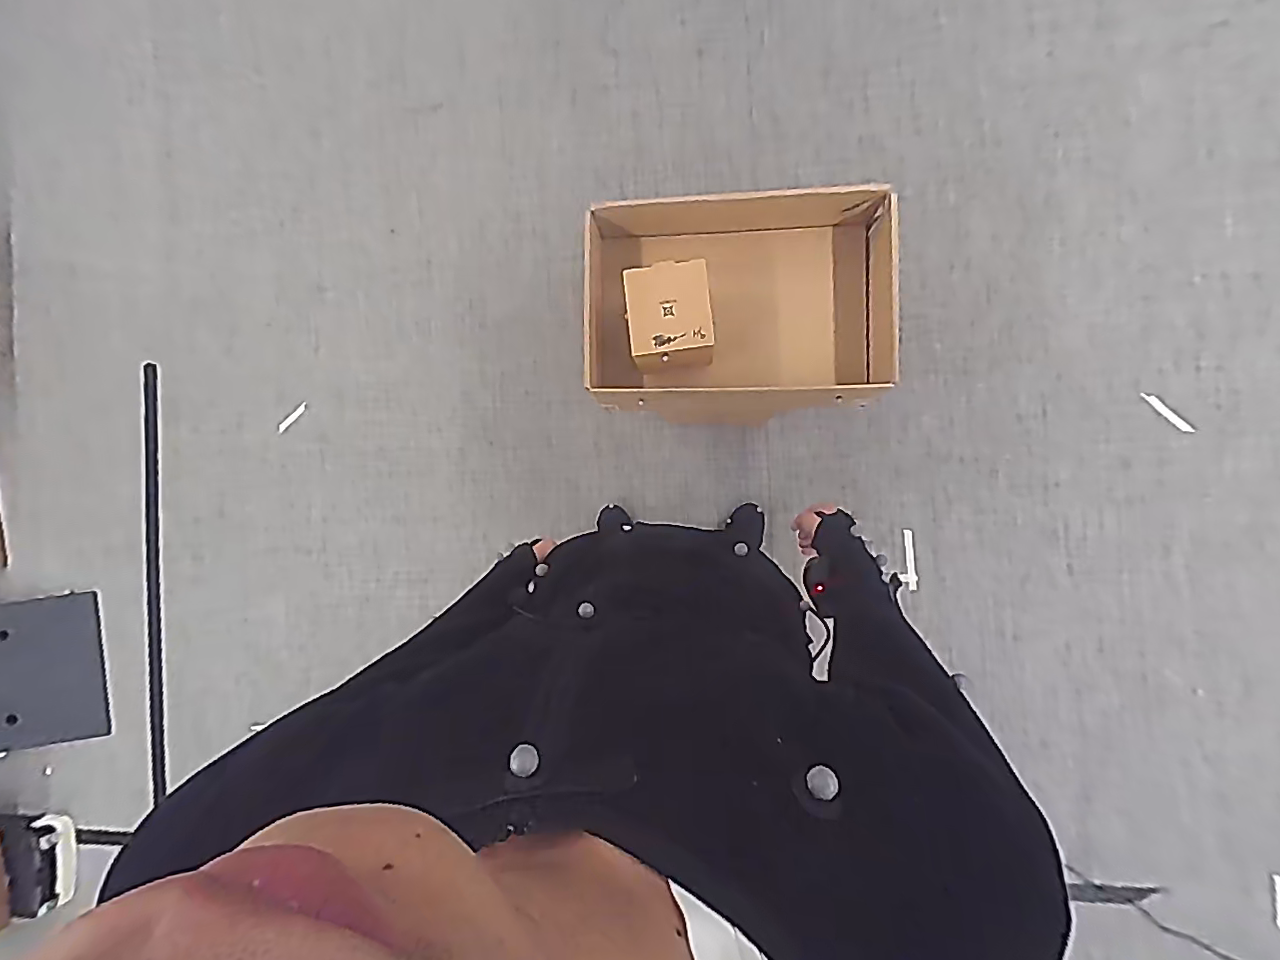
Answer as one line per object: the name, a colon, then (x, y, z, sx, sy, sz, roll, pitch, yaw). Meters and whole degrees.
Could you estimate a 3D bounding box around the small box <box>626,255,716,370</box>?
small box: (0.068, -0.343, 1.139, 0.168, 0.176, 0.179, -6, 88, 7)
